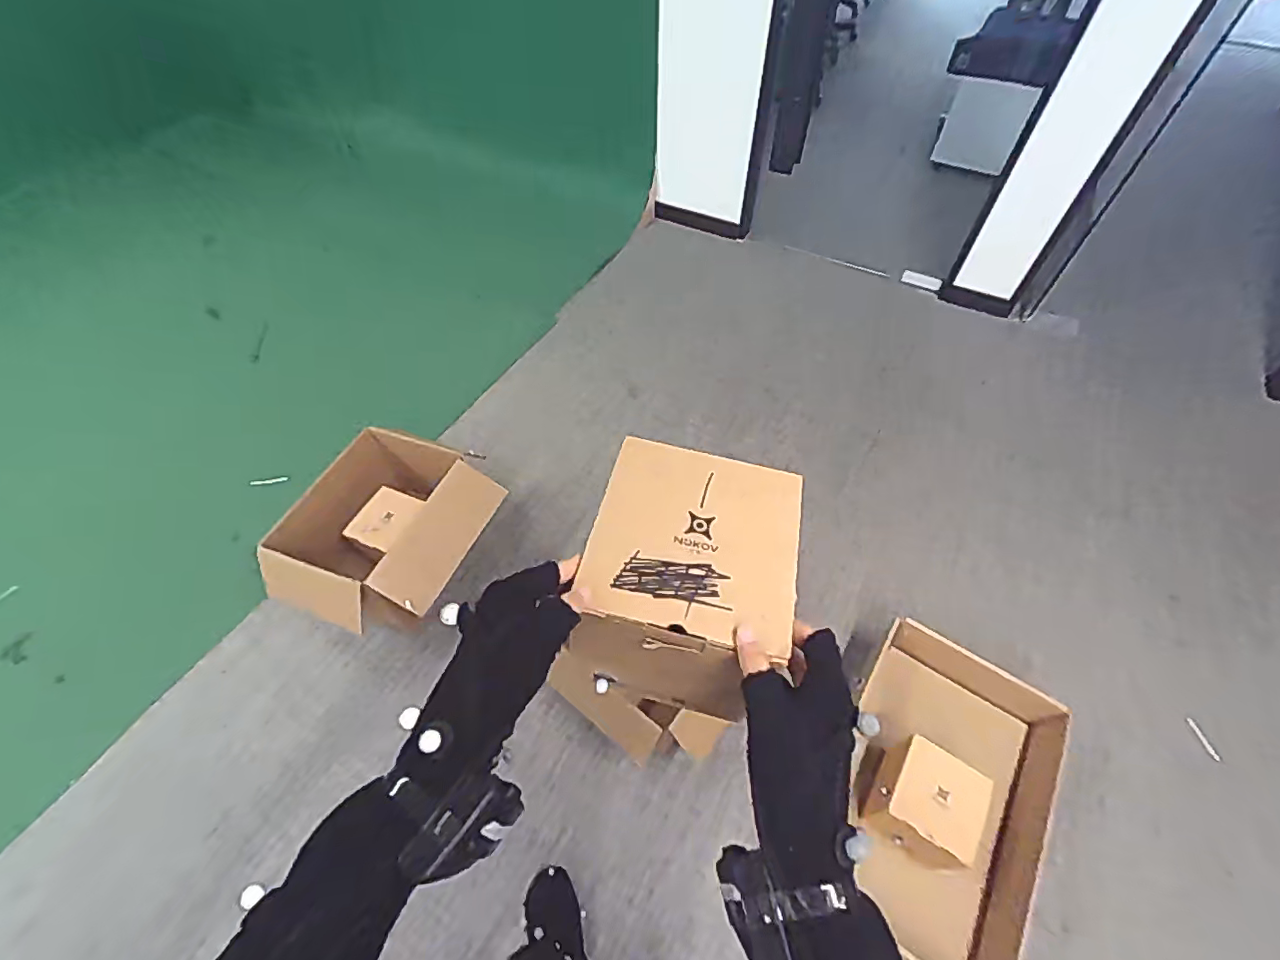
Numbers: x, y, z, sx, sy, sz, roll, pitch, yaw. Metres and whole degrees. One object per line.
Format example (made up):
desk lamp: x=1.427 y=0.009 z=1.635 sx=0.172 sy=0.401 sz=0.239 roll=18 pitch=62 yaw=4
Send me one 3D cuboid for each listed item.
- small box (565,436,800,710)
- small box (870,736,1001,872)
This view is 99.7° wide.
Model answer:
small box: x=0.039 y=0.091 z=0.504 sx=0.168 sy=0.176 sz=0.179 roll=13 pitch=51 yaw=6
small box: x=0.606 y=0.673 z=1.125 sx=0.168 sy=0.176 sz=0.179 roll=29 pitch=59 yaw=19
